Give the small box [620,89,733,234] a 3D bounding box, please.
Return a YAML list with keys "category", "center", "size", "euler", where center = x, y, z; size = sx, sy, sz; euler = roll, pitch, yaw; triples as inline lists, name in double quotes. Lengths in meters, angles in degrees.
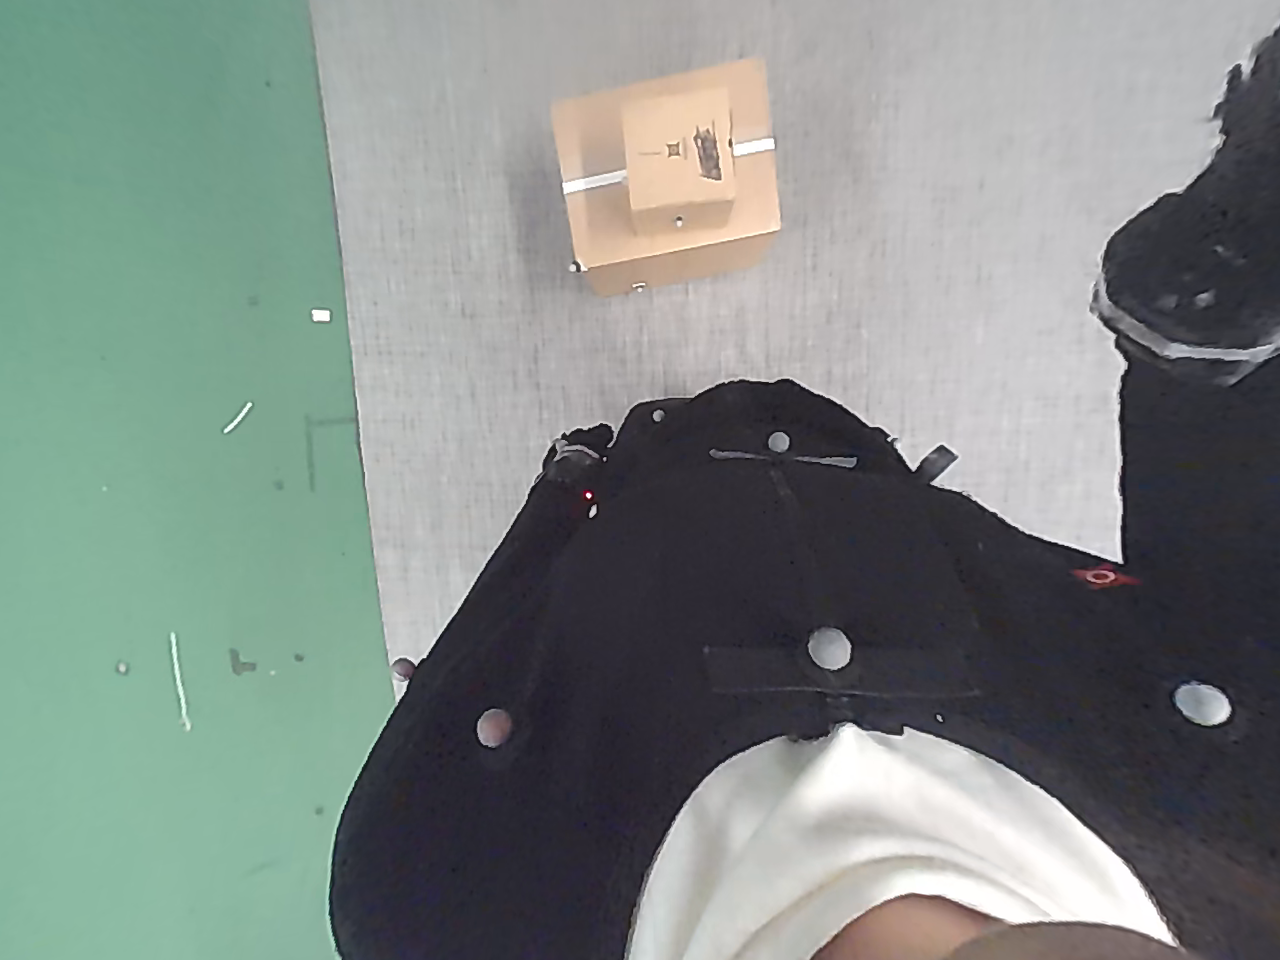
- category: "small box"
  center: [0.065, -0.552, 0.960]
  size: [0.179, 0.176, 0.168]
  euler: [-4, 99, 6]
